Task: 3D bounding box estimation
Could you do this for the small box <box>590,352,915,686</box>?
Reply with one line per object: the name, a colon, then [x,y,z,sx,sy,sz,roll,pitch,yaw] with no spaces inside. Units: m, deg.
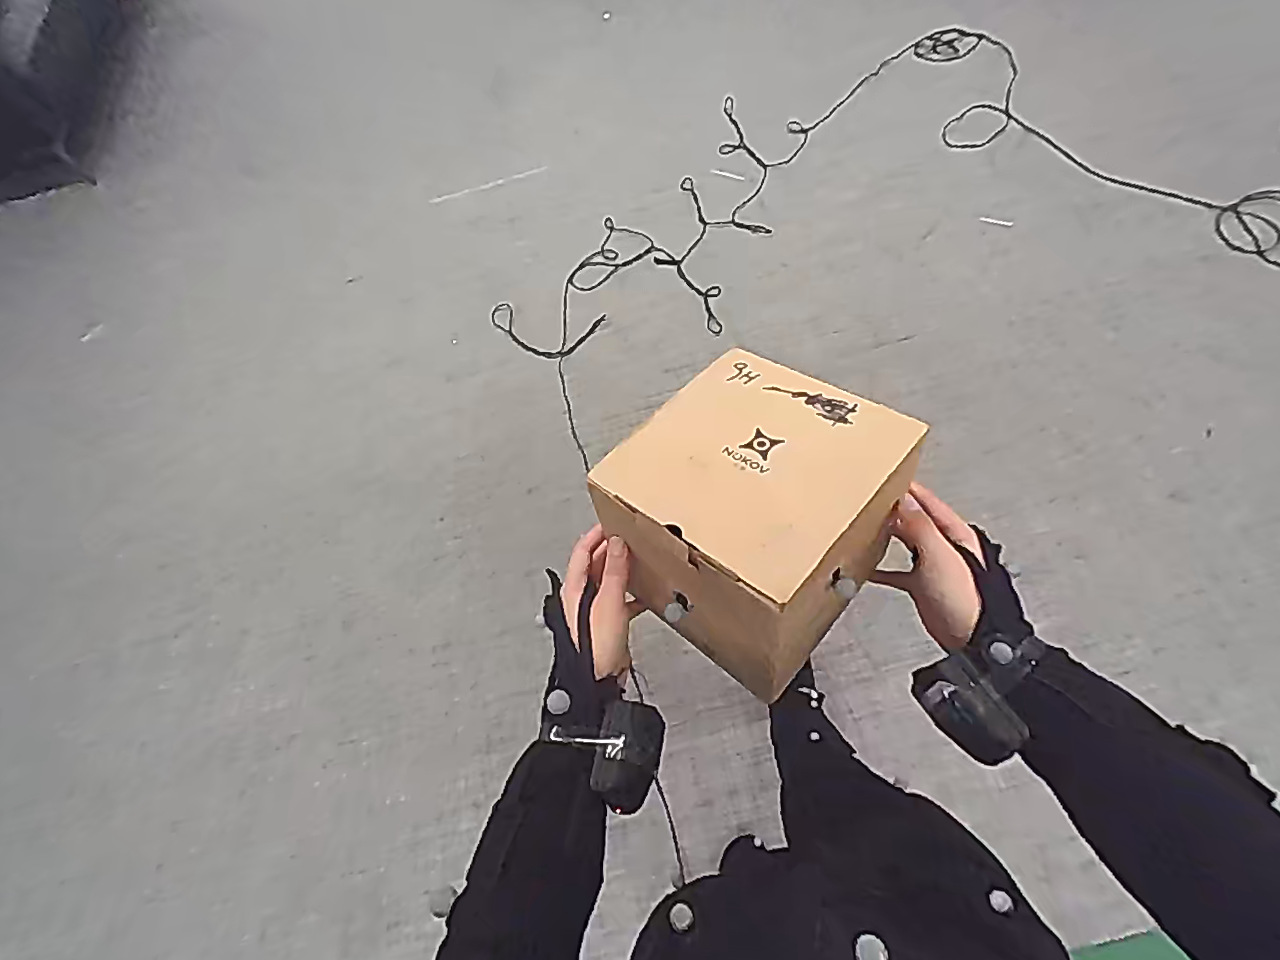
small box: [0.090,0.033,0.443,0.168,0.176,0.179,32,63,32]
